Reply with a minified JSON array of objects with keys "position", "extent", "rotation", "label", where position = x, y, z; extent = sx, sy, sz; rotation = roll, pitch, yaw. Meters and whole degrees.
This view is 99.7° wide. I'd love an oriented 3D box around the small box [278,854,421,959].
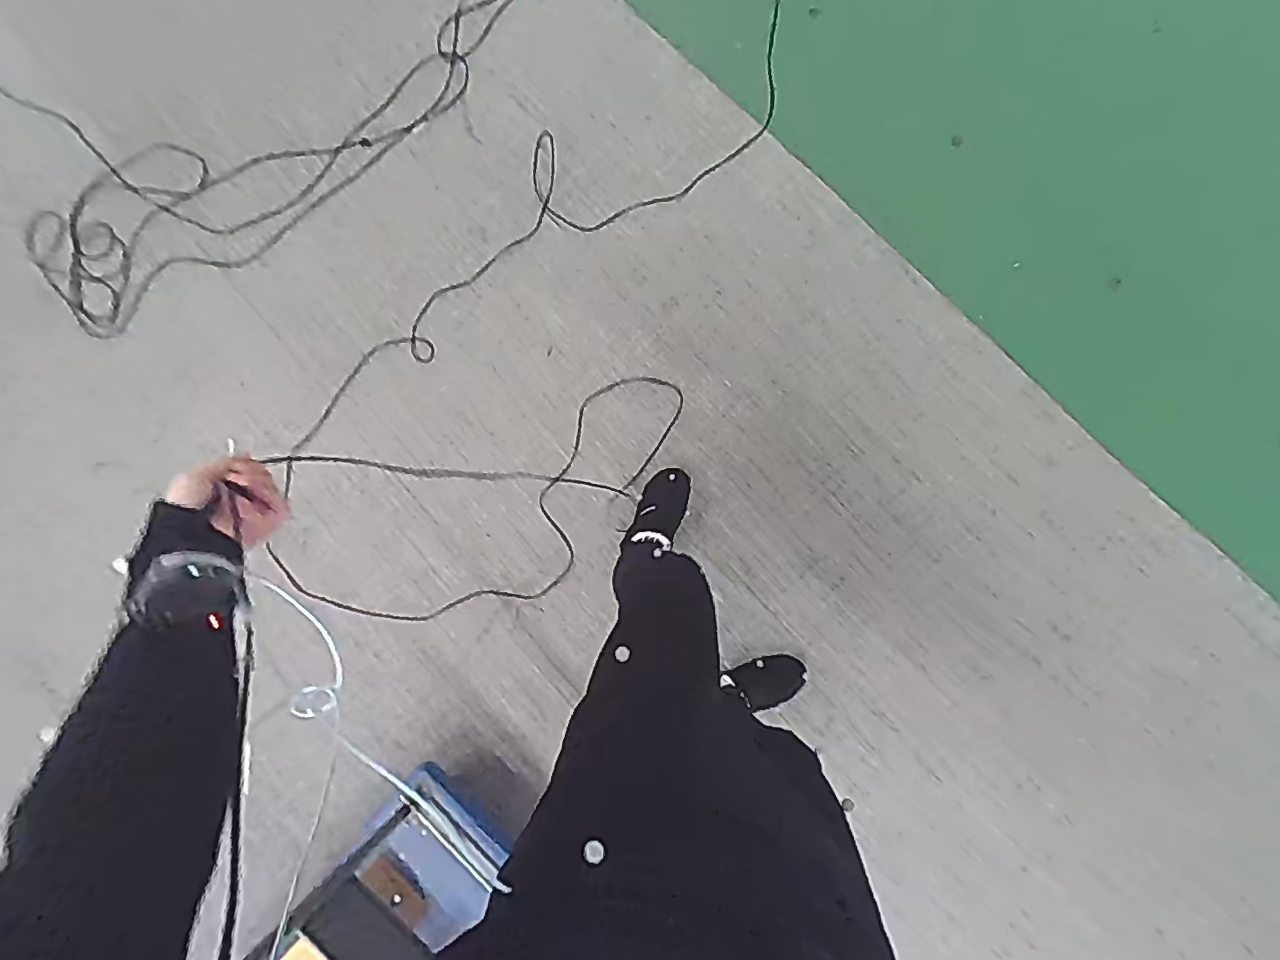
[{"position":[-0.618,0.976,1.172],"extent":[0.168,0.176,0.179],"rotation":[44,93,7],"label":"small box"}]
